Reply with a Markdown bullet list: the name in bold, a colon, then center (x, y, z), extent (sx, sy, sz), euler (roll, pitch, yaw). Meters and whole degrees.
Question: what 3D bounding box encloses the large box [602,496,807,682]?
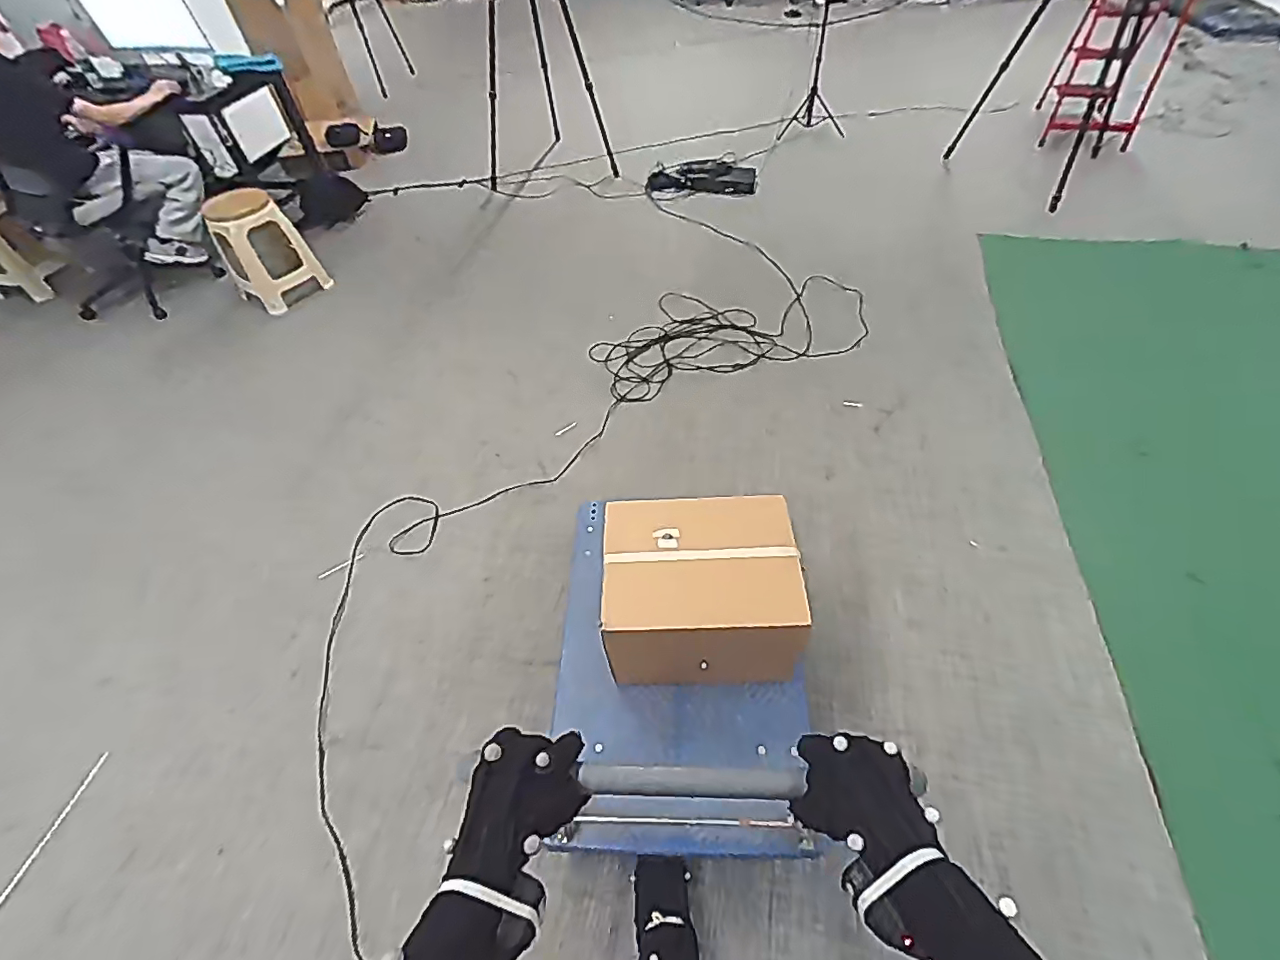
- **large box**: center (0.137, 0.260, 1.253), extent (0.408, 0.320, 0.320), euler (-3, 50, 4)
